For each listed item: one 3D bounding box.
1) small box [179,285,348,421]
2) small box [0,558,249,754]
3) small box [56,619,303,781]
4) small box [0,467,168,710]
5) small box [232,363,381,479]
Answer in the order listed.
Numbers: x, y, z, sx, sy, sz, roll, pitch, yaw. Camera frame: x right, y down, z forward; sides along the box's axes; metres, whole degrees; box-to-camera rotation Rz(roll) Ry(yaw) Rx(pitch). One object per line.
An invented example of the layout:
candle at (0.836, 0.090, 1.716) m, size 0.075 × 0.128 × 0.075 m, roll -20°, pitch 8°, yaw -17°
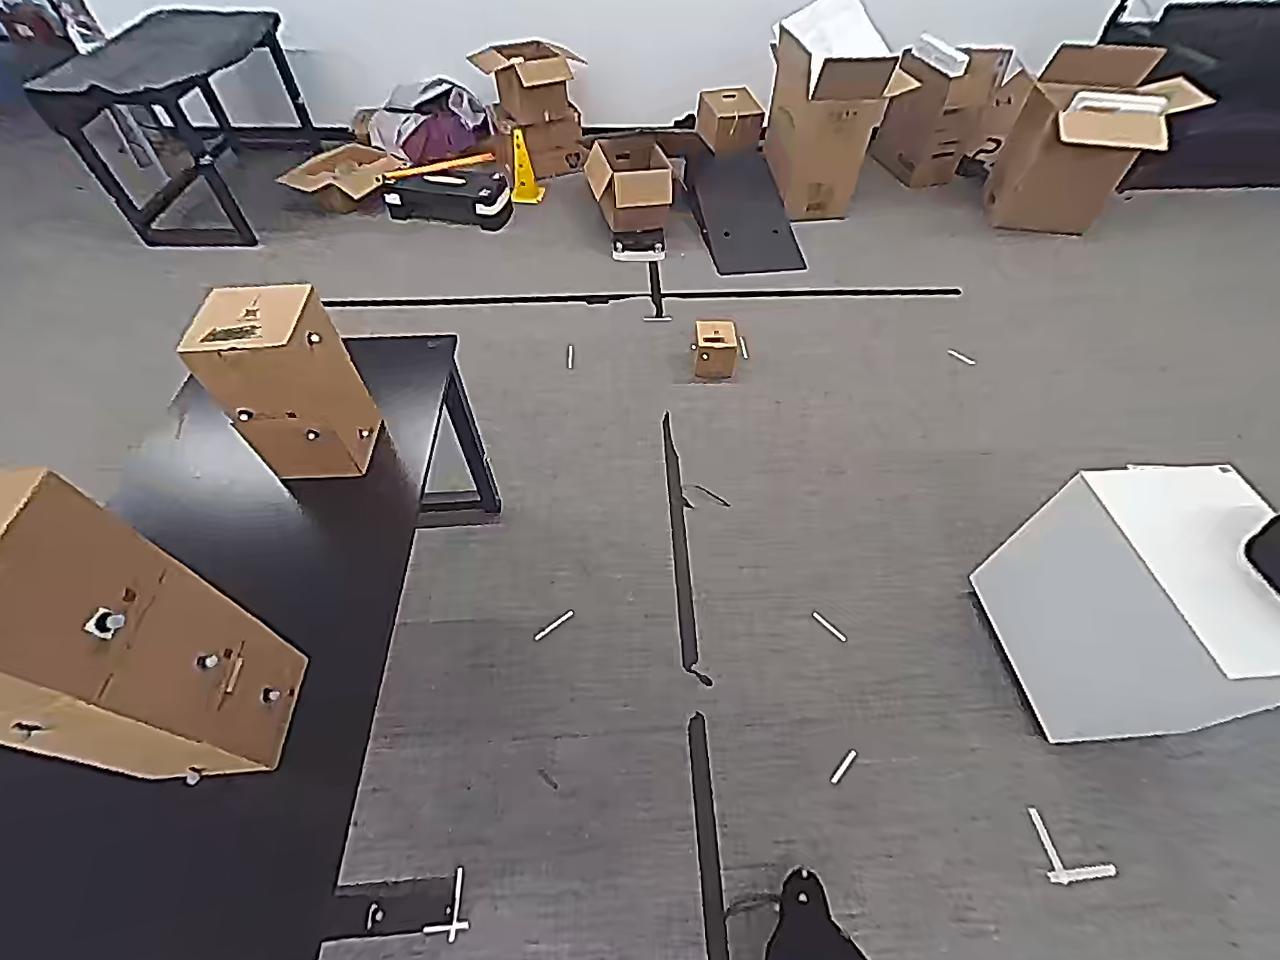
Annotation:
small box at (-0.641, -0.216, 0.951) m, size 0.168 × 0.176 × 0.179 m, roll -5°, pitch 52°, yaw -5°
small box at (-0.610, 0.206, 0.622) m, size 0.179 × 0.176 × 0.168 m, roll -3°, pitch 53°, yaw -4°
small box at (-0.610, 0.308, 0.752) m, size 0.179 × 0.176 × 0.168 m, roll -3°, pitch 52°, yaw -4°
small box at (-0.606, 0.106, 0.494) m, size 0.179 × 0.176 × 0.168 m, roll -3°, pitch 53°, yaw -4°
small box at (-0.650, -0.115, 1.081) m, size 0.179 × 0.176 × 0.168 m, roll -2°, pitch 52°, yaw -3°
